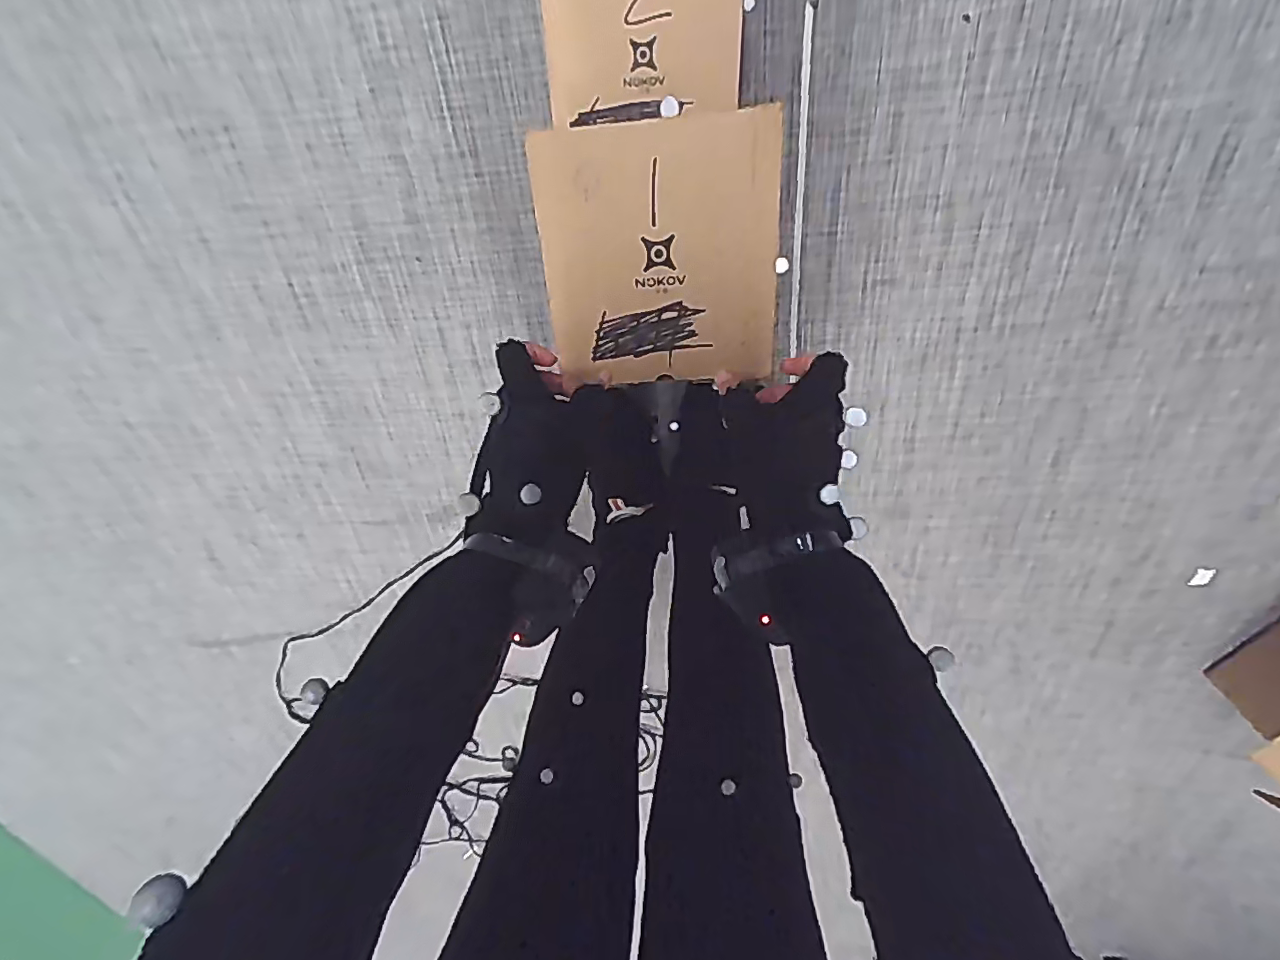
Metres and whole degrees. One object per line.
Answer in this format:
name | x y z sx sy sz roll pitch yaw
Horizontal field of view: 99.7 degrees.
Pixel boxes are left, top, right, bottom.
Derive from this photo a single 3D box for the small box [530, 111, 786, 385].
small box | 0.024 -0.192 0.449 0.168 0.176 0.179 -1 121 8
